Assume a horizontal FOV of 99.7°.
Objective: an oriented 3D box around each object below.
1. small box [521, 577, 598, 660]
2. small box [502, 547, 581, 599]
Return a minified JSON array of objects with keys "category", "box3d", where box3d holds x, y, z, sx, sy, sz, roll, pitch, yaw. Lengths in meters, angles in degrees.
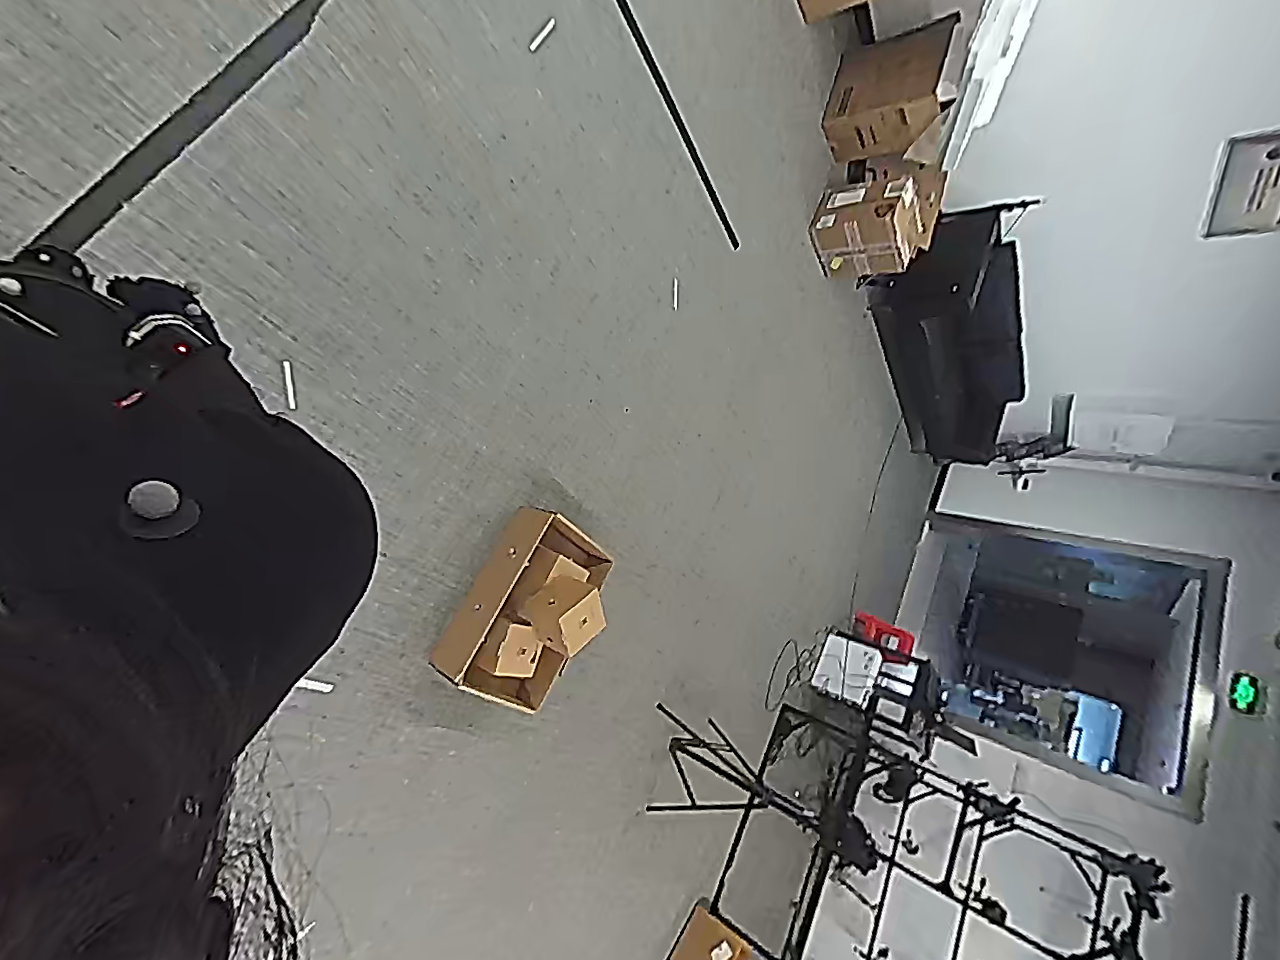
[{"category":"small box","box3d":[-0.266,0.443,1.759,0.179,0.176,0.168,-36,127,-42]},{"category":"small box","box3d":[-0.346,0.352,1.897,0.179,0.176,0.168,44,66,-46]}]
